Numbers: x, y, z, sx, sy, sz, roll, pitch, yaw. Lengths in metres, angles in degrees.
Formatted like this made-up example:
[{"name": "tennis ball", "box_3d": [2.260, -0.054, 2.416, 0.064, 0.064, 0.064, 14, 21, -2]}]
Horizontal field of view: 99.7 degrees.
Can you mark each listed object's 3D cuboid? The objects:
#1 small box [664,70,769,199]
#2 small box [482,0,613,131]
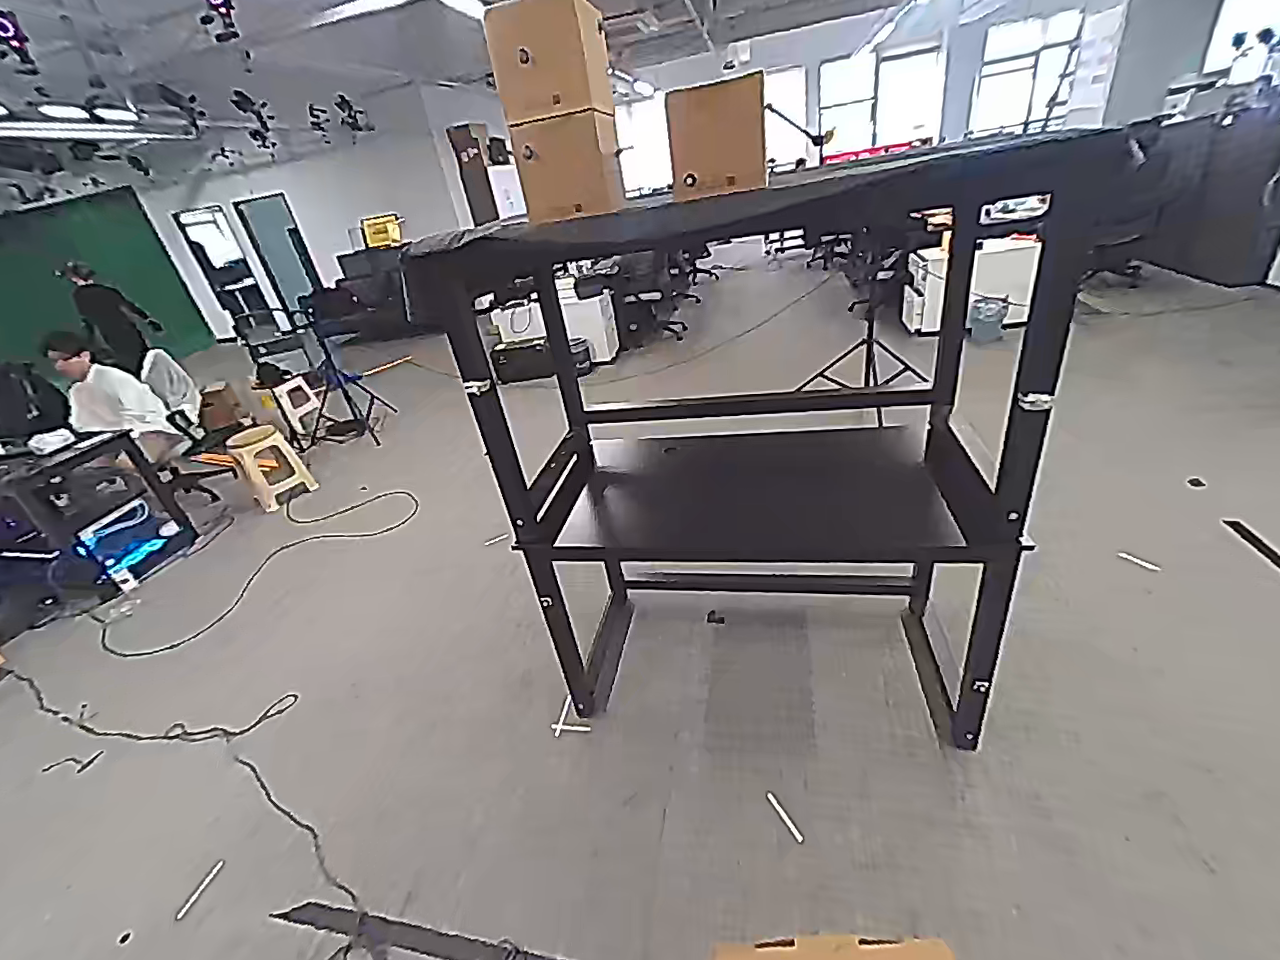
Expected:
[{"name": "small box", "box_3d": [0.148, -0.618, 0.988, 0.168, 0.176, 0.179, -1, 29, 15]}, {"name": "small box", "box_3d": [-0.155, -0.748, 0.980, 0.168, 0.176, 0.179, -2, 29, 14]}]
